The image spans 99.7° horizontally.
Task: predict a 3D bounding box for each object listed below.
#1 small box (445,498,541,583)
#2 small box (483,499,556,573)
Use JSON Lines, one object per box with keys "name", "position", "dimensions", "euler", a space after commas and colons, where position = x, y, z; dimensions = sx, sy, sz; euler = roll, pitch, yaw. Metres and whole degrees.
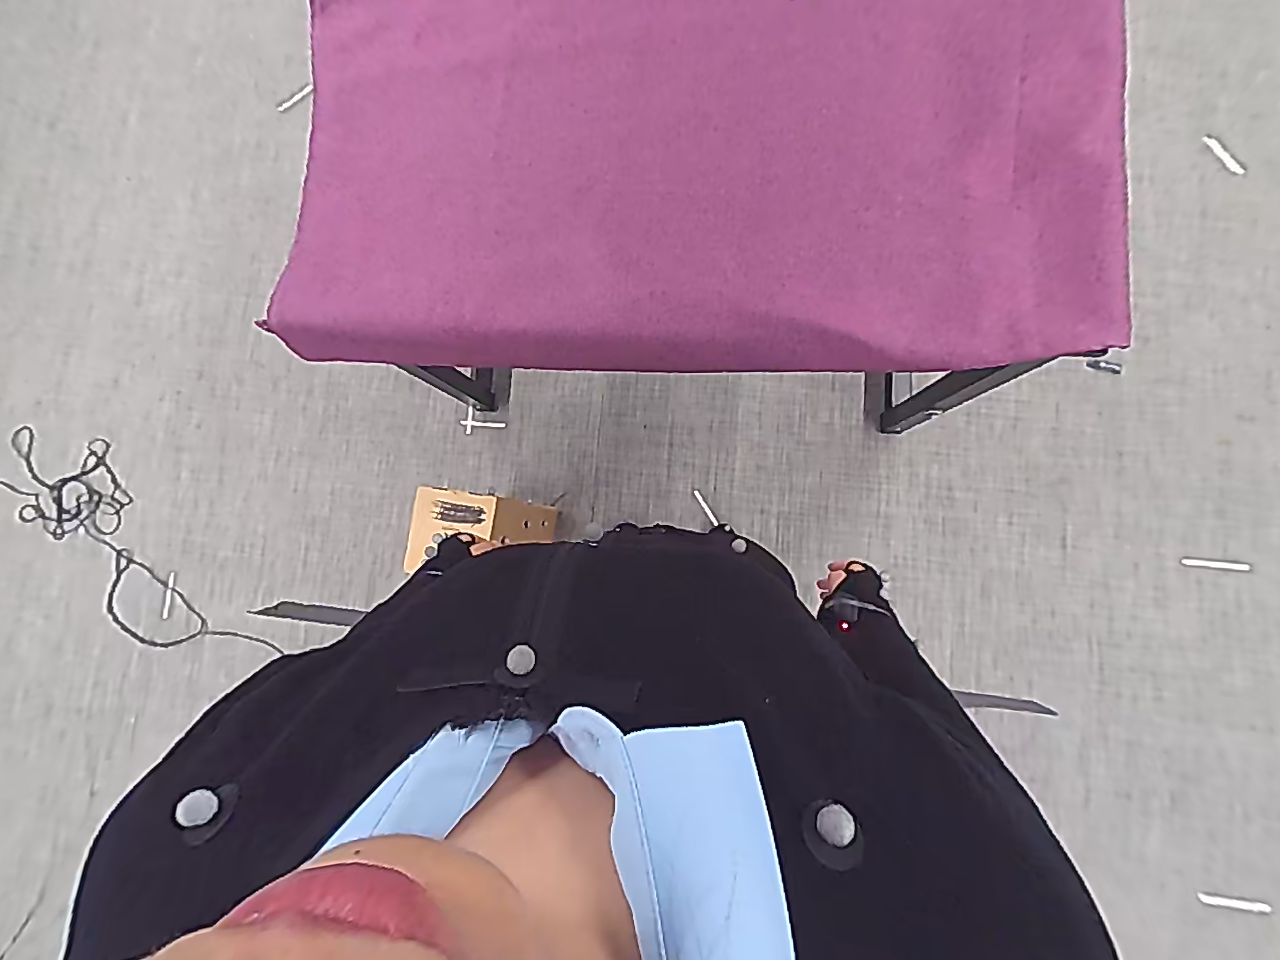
{"name": "small box", "position": [-0.342, 0.143, 1.293], "dimensions": [0.168, 0.176, 0.179], "euler": [5, 85, 6]}
{"name": "small box", "position": [-0.334, 0.154, 1.457], "dimensions": [0.168, 0.176, 0.179], "euler": [11, 86, 6]}
